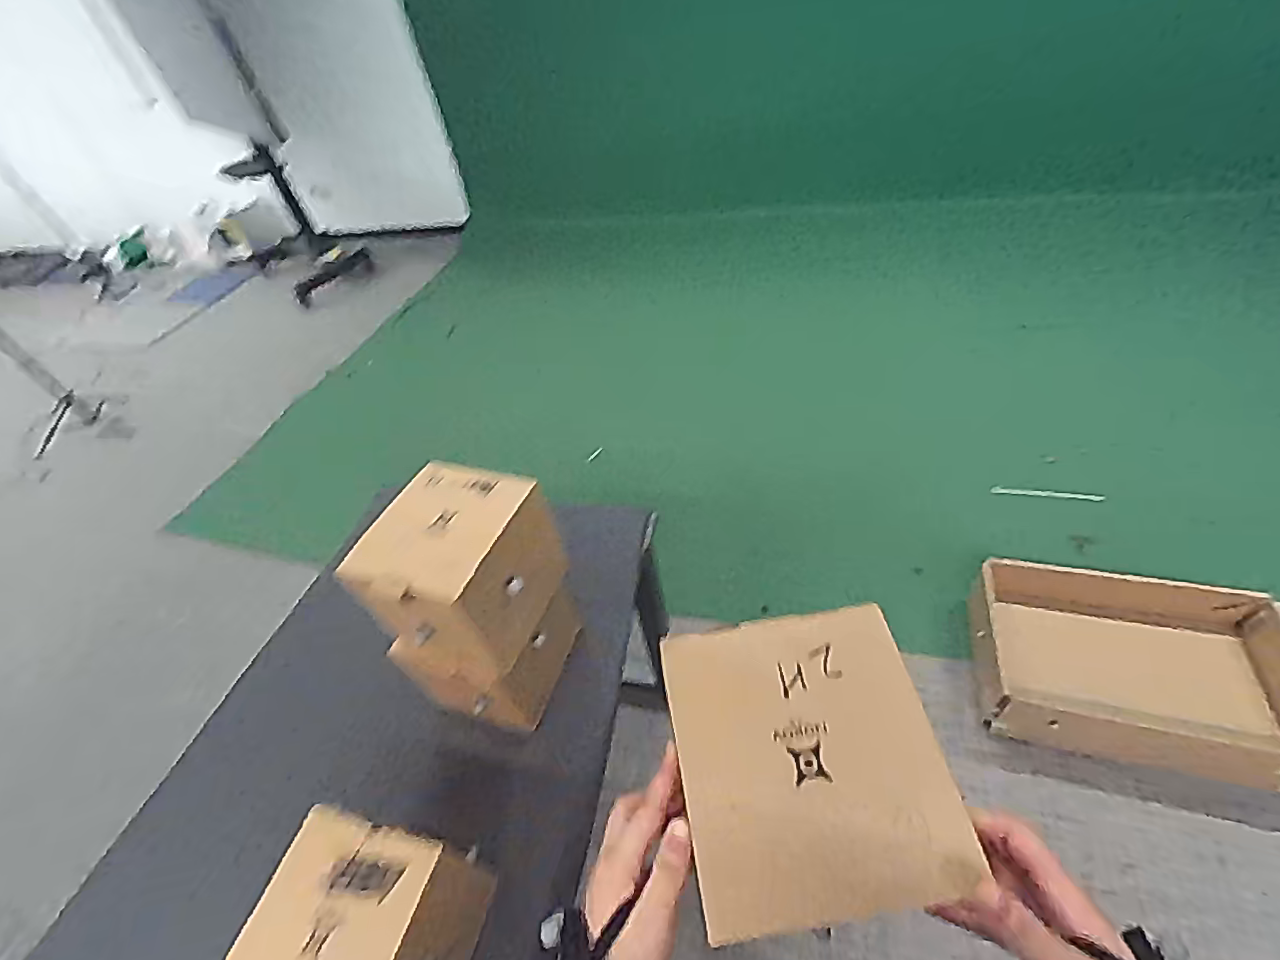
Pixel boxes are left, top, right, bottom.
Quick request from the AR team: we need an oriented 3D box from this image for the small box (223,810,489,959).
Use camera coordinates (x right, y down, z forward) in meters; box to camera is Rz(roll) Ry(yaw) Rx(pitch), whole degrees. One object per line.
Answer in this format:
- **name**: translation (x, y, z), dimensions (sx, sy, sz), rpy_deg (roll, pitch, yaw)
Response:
- **small box**: translation (-0.275, 0.469, 0.545), dimensions (0.168, 0.176, 0.179), rpy_deg (4, 49, 17)

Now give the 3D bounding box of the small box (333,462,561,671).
- **small box**: translation (-0.215, 0.105, 0.660), dimensions (0.168, 0.176, 0.179), rpy_deg (10, 49, 20)

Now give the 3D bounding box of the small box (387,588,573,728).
- **small box**: translation (-0.210, 0.226, 0.773), dimensions (0.168, 0.176, 0.179), rpy_deg (7, 47, 18)
